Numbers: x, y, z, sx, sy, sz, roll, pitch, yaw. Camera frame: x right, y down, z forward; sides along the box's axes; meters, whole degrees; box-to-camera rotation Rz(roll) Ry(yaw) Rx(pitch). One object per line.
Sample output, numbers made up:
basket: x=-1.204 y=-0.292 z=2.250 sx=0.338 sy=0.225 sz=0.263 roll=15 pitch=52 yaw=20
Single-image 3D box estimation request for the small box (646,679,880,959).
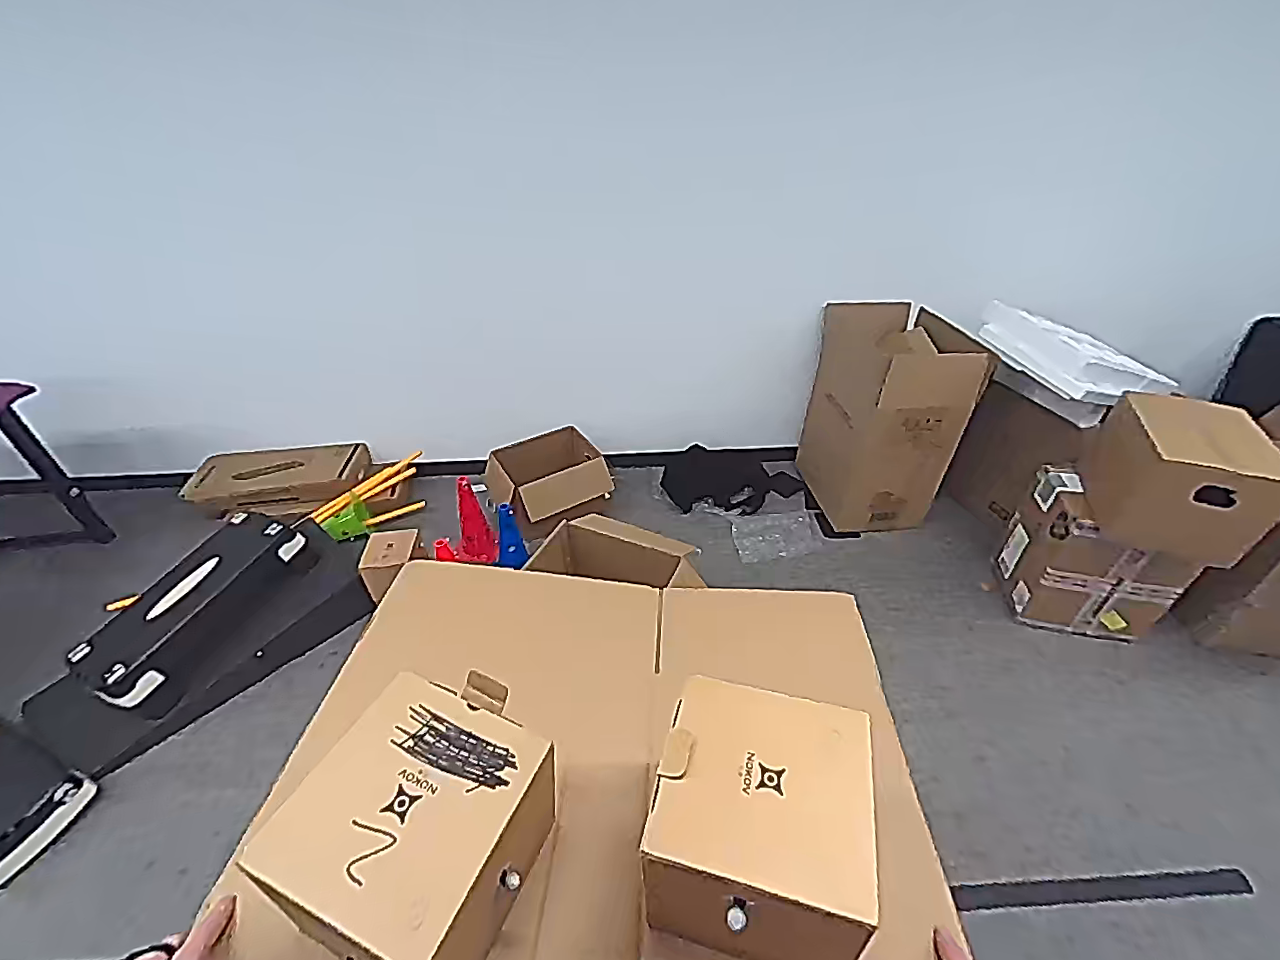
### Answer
small box: x=0.115 y=0.324 z=0.513 sx=0.179 sy=0.176 sz=0.168 roll=7 pitch=37 yaw=16
